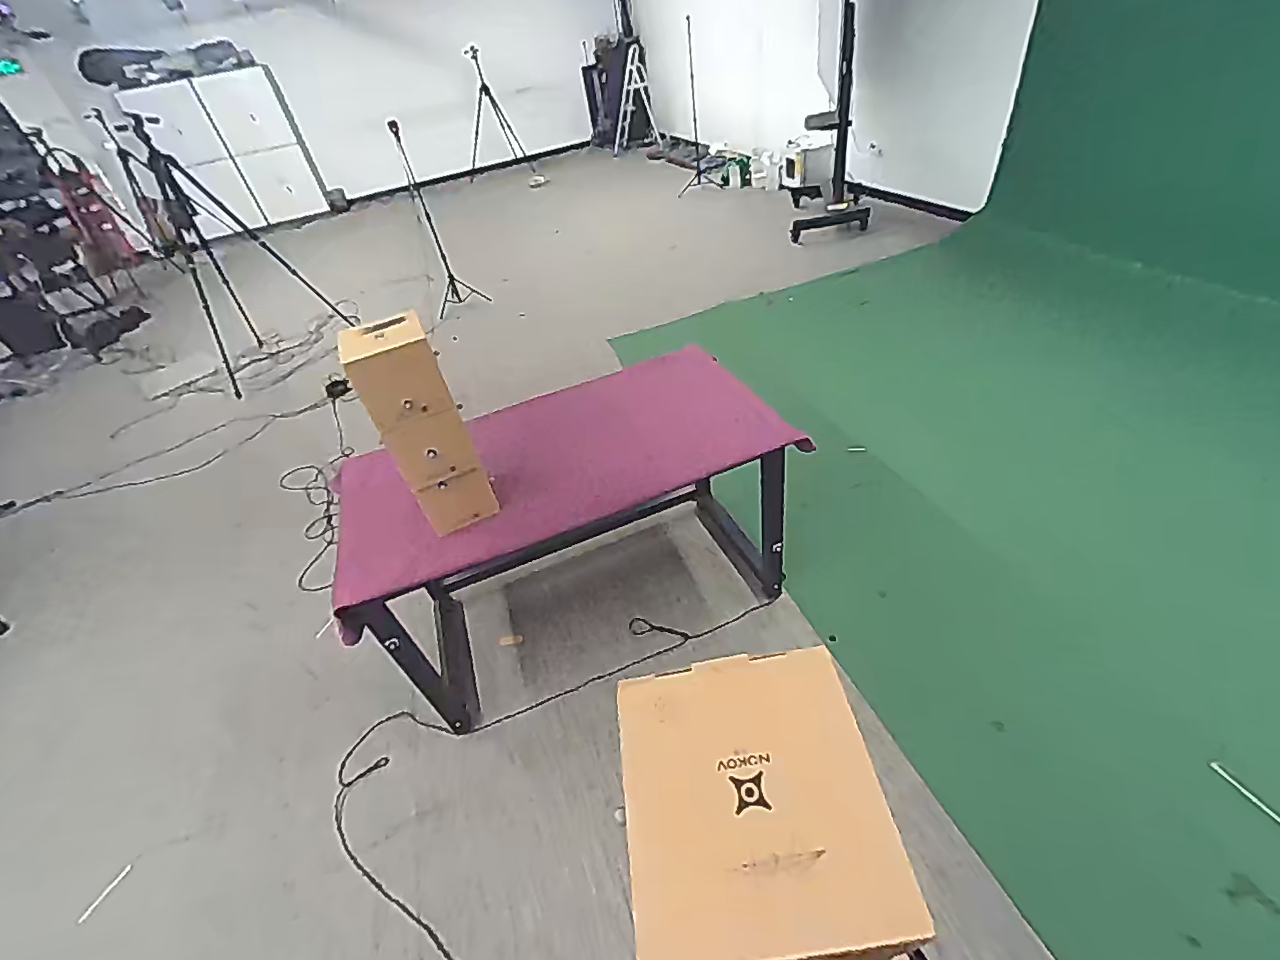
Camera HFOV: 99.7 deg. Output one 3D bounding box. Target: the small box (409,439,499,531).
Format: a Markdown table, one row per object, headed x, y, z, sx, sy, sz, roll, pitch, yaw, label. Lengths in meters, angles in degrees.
| x | y | z | sx | sy | sz | roll | pitch | yaw | label |
| --- | --- | --- | --- | --- | --- | --- | --- | --- | --- |
| -0.476 | -0.003 | 1.364 | 0.168 | 0.176 | 0.179 | -24 | 42 | -14 | small box |

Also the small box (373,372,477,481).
| x | y | z | sx | sy | sz | roll | pitch | yaw | label |
| --- | --- | --- | --- | --- | --- | --- | --- | --- | --- |
| -0.491 | -0.118 | 1.244 | 0.168 | 0.176 | 0.179 | -22 | 42 | -14 | small box |

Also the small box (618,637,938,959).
| x | y | z | sx | sy | sz | roll | pitch | yaw | label |
| --- | --- | --- | --- | --- | --- | --- | --- | --- | --- |
| 0.080 | 0.245 | 0.401 | 0.168 | 0.176 | 0.179 | -10 | 45 | 2 | small box |
